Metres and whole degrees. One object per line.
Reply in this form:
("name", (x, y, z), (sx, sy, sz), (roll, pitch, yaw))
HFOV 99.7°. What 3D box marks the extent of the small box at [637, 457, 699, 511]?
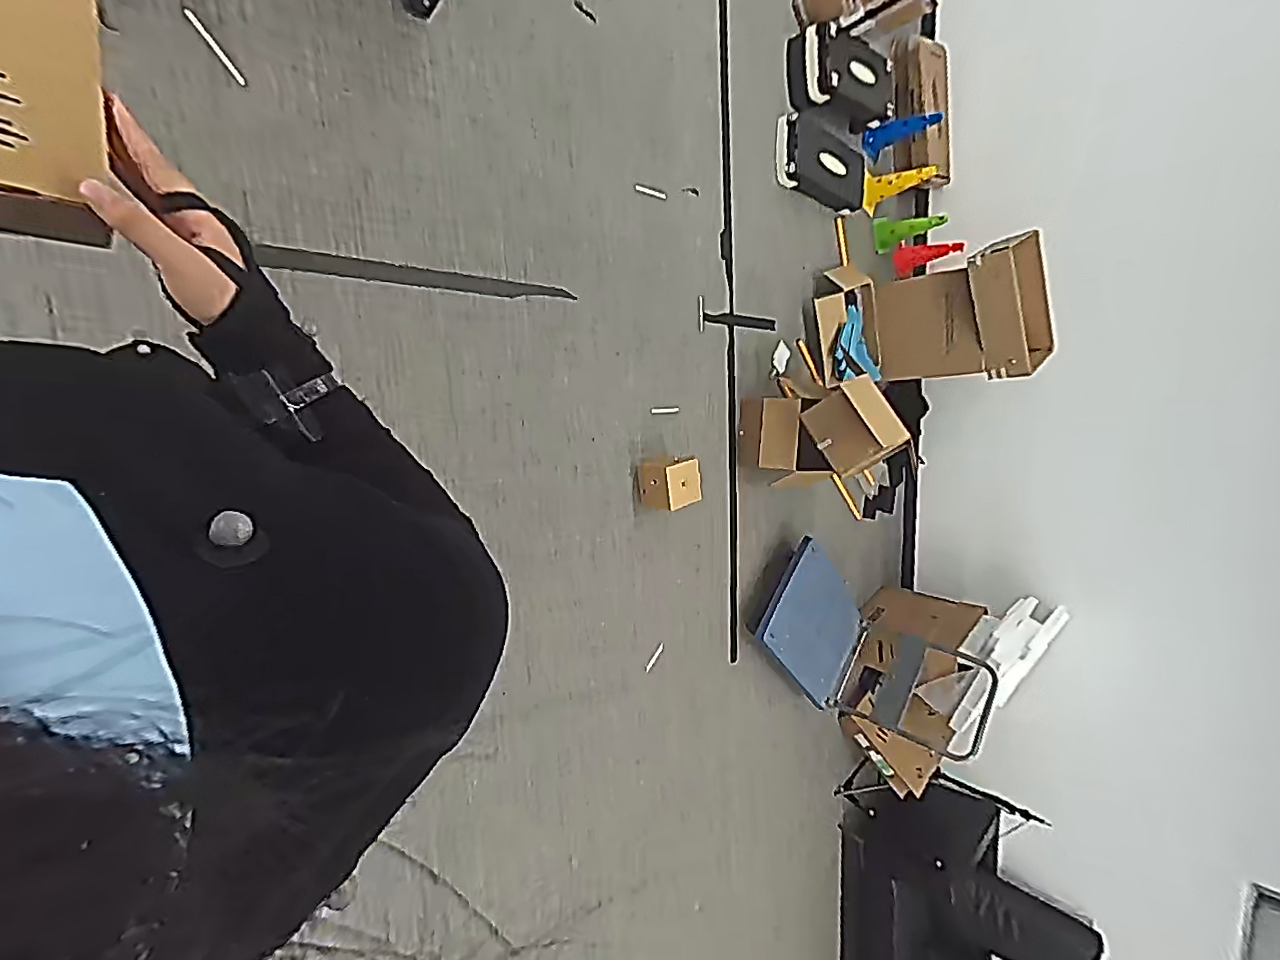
("small box", (0.101, 0.011, 2.072), (0.179, 0.176, 0.168), (-19, 107, -40))
